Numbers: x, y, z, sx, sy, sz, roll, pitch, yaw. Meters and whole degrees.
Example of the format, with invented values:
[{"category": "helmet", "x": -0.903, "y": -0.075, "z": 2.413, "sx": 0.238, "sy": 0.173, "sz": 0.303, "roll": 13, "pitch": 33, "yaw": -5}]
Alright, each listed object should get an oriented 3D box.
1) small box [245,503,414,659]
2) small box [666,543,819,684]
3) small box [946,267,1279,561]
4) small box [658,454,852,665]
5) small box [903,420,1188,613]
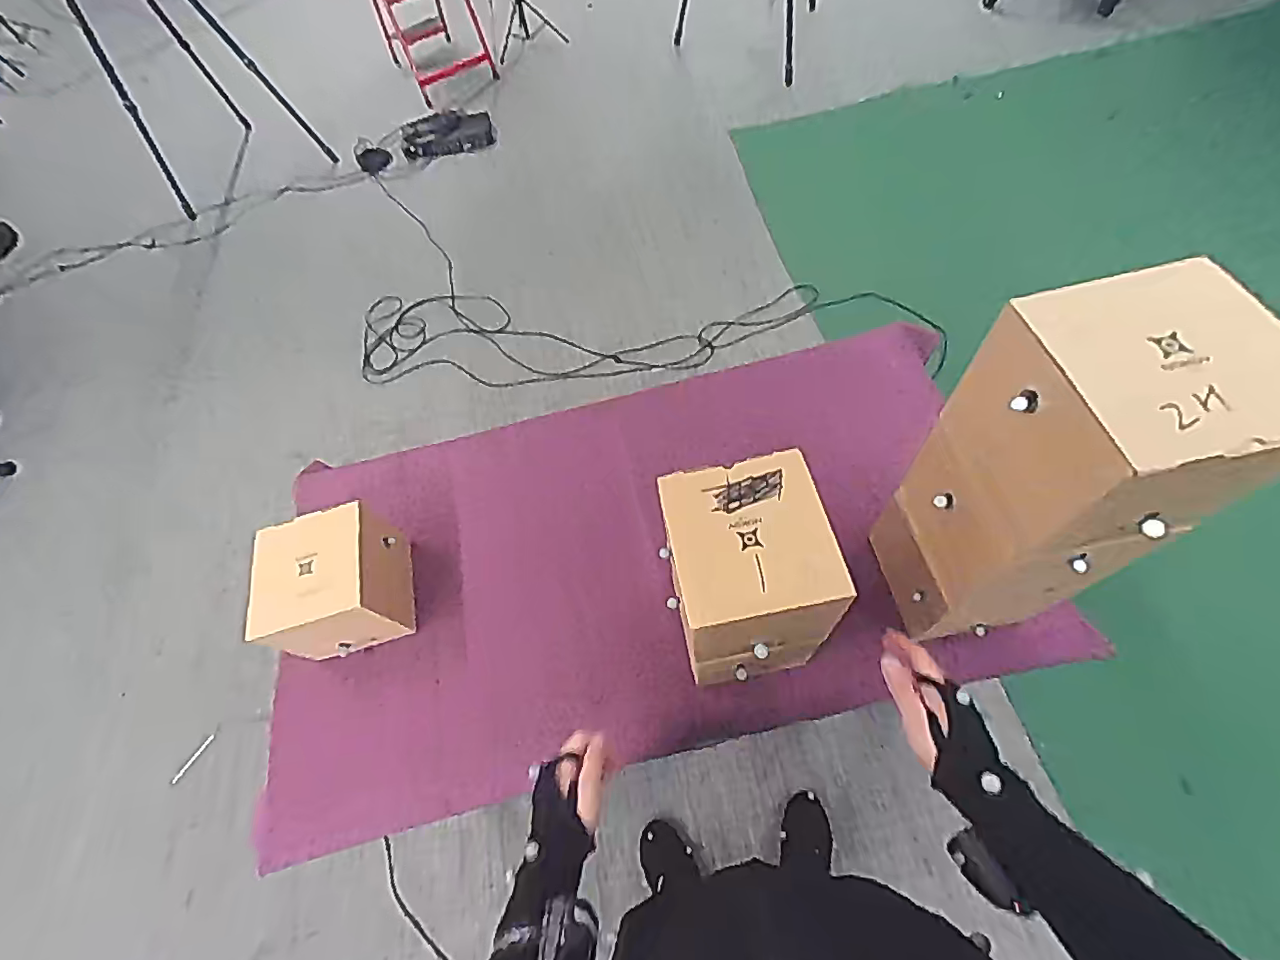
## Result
[{"category": "small box", "x": -0.478, "y": 0.165, "z": 0.858, "sx": 0.168, "sy": 0.176, "sz": 0.179, "roll": -16, "pitch": 61, "yaw": -1}, {"category": "small box", "x": 0.138, "y": 0.182, "z": 0.768, "sx": 0.168, "sy": 0.176, "sz": 0.179, "roll": -12, "pitch": 59, "yaw": 1}, {"category": "small box", "x": 0.408, "y": -0.050, "z": 0.477, "sx": 0.168, "sy": 0.176, "sz": 0.179, "roll": -12, "pitch": 60, "yaw": 2}, {"category": "small box", "x": 0.120, "y": 0.098, "z": 0.628, "sx": 0.168, "sy": 0.176, "sz": 0.179, "roll": -12, "pitch": 60, "yaw": 2}, {"category": "small box", "x": 0.430, "y": 0.034, "z": 0.618, "sx": 0.168, "sy": 0.176, "sz": 0.179, "roll": -11, "pitch": 59, "yaw": 3}]
